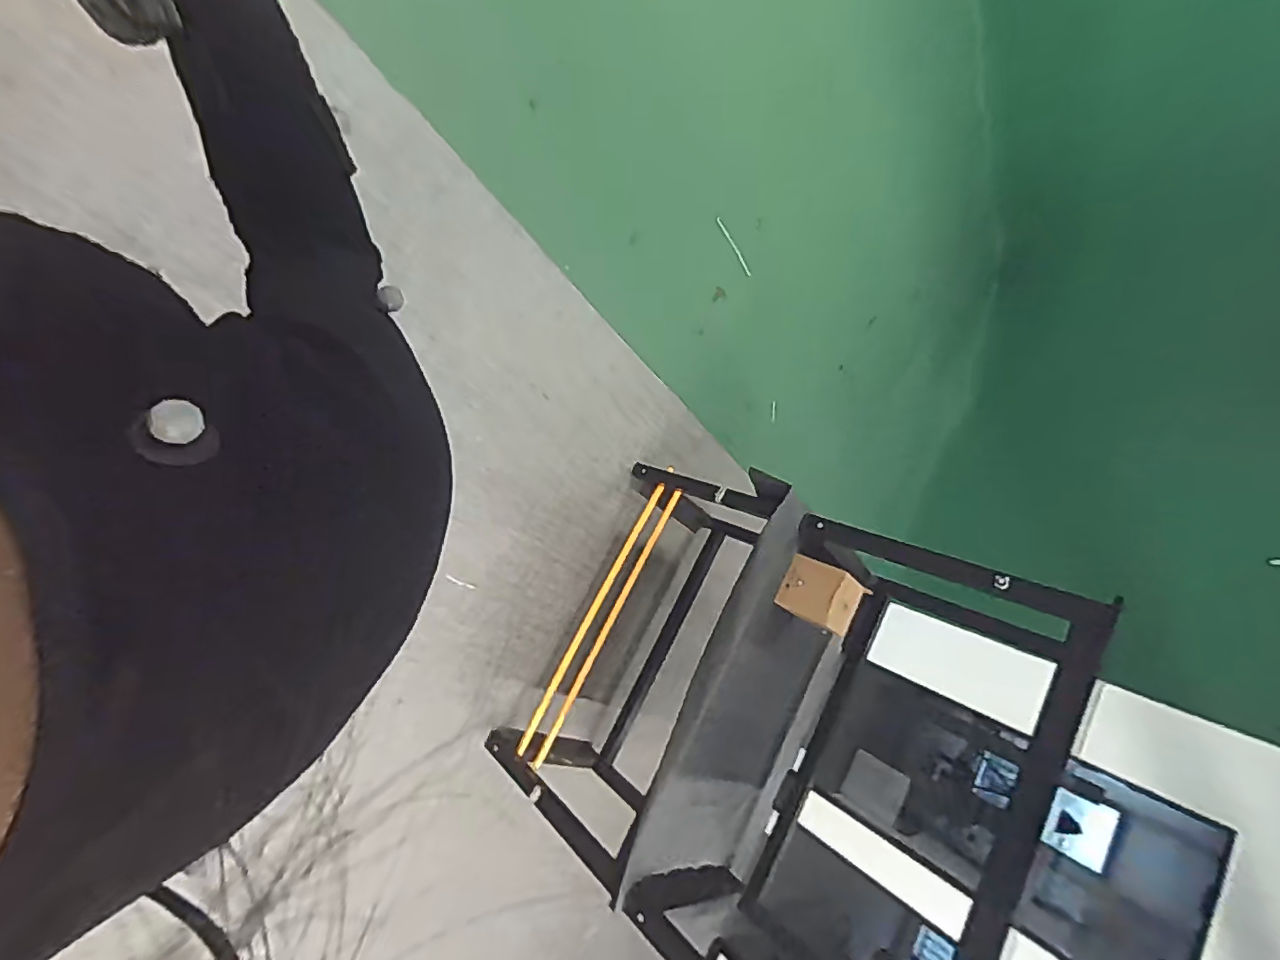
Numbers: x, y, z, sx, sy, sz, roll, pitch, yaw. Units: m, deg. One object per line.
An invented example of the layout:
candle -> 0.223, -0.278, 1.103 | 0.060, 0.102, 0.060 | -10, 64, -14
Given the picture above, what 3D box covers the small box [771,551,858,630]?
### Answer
small box -> 0.530, 0.332, 1.644 | 0.179, 0.176, 0.168 | 36, 77, -46
